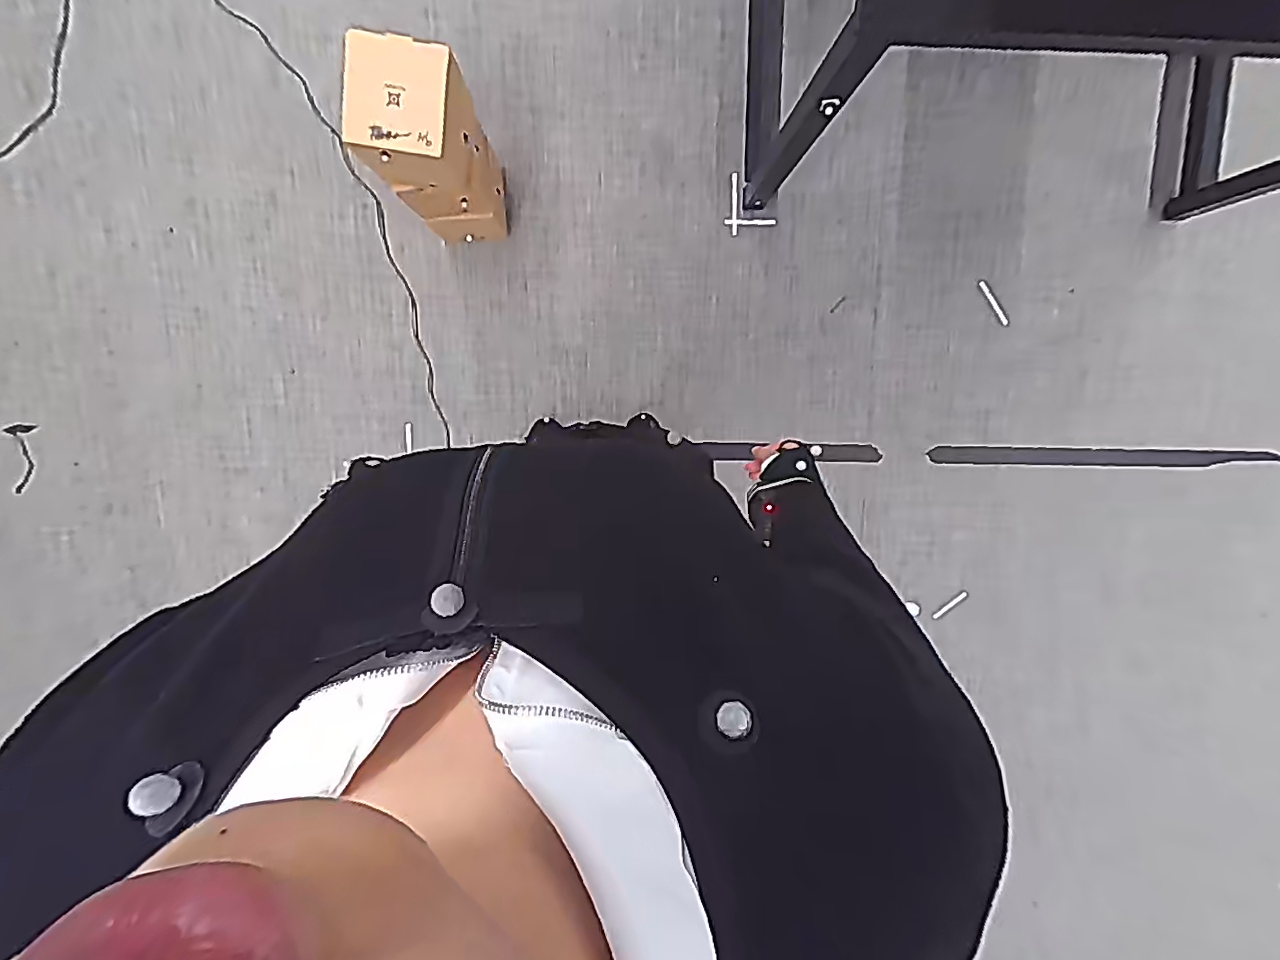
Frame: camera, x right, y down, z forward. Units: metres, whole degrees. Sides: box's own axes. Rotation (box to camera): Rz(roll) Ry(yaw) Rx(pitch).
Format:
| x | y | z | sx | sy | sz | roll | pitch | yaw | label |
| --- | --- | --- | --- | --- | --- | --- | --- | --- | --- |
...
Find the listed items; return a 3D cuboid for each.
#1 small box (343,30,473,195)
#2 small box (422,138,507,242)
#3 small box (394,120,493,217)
| x | y | z | sx | sy | sz | roll | pitch | yaw | label |
| --- | --- | --- | --- | --- | --- | --- | --- | --- | --- |
| -0.408 | -0.649 | 0.976 | 0.168 | 0.176 | 0.179 | 7 | 97 | -4 | small box |
| -0.423 | -0.690 | 1.300 | 0.168 | 0.176 | 0.179 | -4 | 99 | -2 | small box |
| -0.418 | -0.673 | 1.139 | 0.168 | 0.176 | 0.179 | -7 | 97 | -2 | small box |
